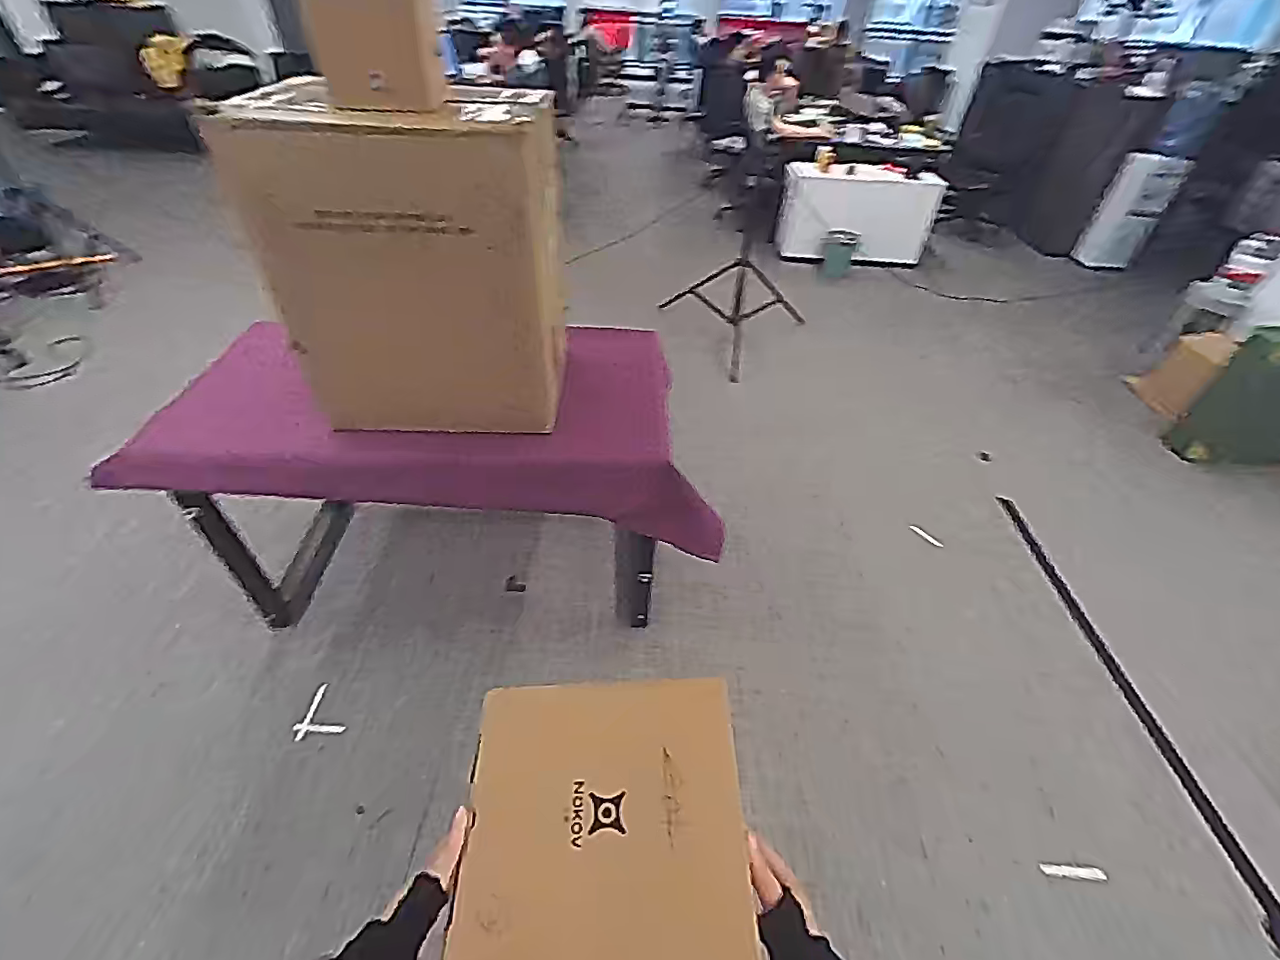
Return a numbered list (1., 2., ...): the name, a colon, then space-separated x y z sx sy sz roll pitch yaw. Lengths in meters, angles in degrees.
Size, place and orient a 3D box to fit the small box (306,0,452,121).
1. small box: -0.436 -0.737 0.937 0.179 0.176 0.168 -1 43 -6
